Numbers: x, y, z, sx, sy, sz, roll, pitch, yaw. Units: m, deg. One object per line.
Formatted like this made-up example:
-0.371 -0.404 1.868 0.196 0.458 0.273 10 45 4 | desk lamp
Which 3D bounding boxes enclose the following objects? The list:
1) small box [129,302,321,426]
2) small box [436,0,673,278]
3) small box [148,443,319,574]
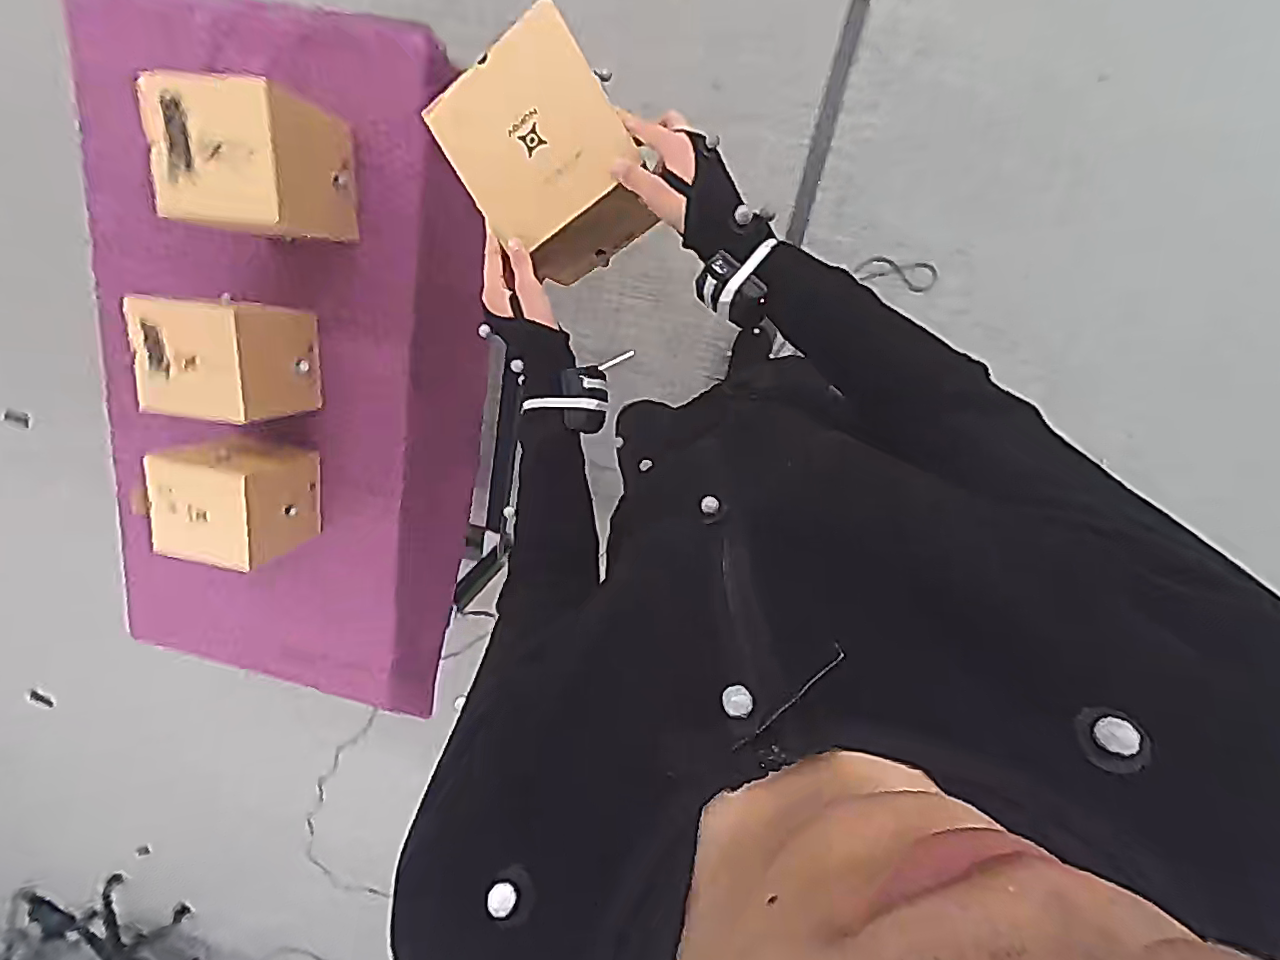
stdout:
-0.654 -0.189 0.872 0.179 0.176 0.168 7 107 6 | small box
-0.082 -0.355 0.606 0.168 0.176 0.179 -29 93 17 | small box
-0.690 0.040 0.941 0.179 0.176 0.168 11 107 6 | small box
